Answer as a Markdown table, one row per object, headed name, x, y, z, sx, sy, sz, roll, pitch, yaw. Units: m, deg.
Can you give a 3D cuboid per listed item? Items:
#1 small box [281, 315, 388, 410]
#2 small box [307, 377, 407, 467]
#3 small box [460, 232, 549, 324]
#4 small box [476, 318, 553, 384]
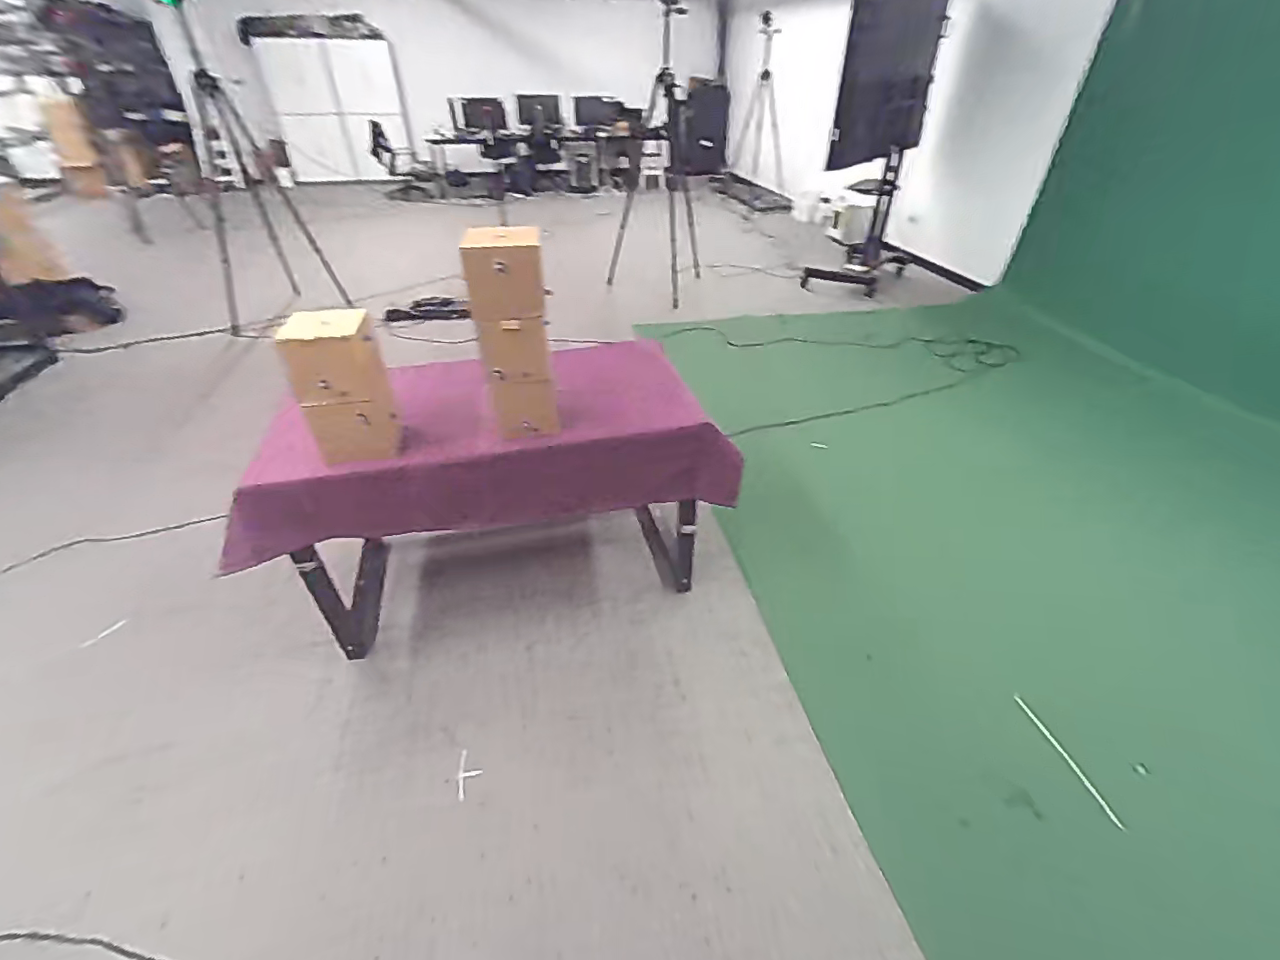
| name | x | y | z | sx | sy | sz | roll | pitch | yaw |
| --- | --- | --- | --- | --- | --- | --- | --- | --- | --- |
| small box | -0.728 | -0.286 | 1.314 | 0.168 | 0.176 | 0.179 | -7 | 38 | -9 |
| small box | -0.722 | -0.150 | 1.405 | 0.179 | 0.176 | 0.168 | -7 | 37 | -9 |
| small box | -0.315 | -0.481 | 1.291 | 0.179 | 0.176 | 0.168 | -5 | 39 | -6 |
| small box | -0.316 | -0.355 | 1.394 | 0.168 | 0.176 | 0.179 | -6 | 37 | -7 |
